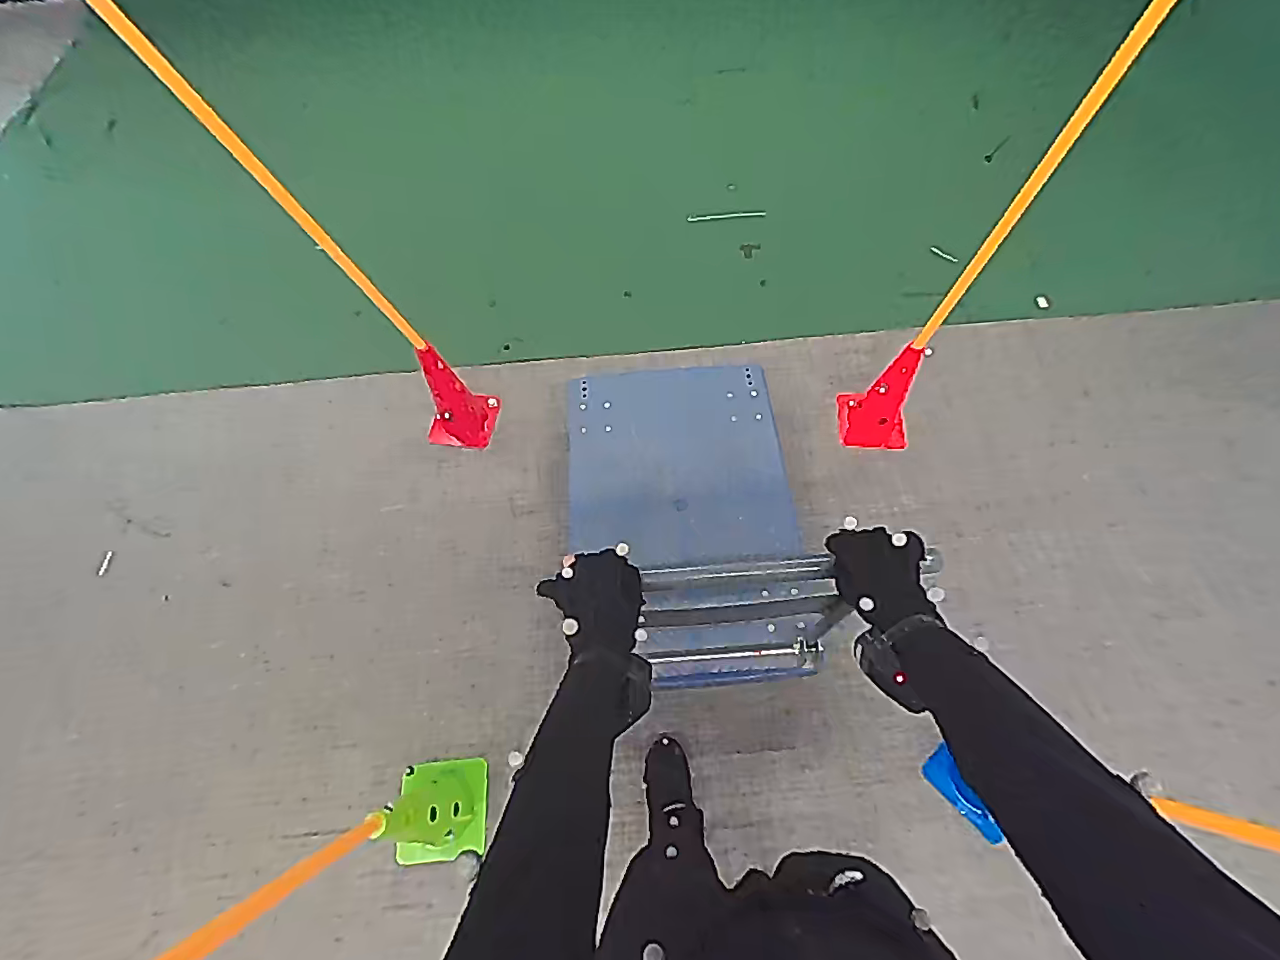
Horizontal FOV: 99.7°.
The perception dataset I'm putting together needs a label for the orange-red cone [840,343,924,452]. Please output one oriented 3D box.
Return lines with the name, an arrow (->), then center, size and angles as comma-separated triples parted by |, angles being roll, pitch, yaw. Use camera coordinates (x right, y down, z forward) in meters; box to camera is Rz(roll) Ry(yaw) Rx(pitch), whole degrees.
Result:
orange-red cone -> 0.718, -0.255, 1.534 | 0.198, 0.360, 0.199 | 5, 64, 6
